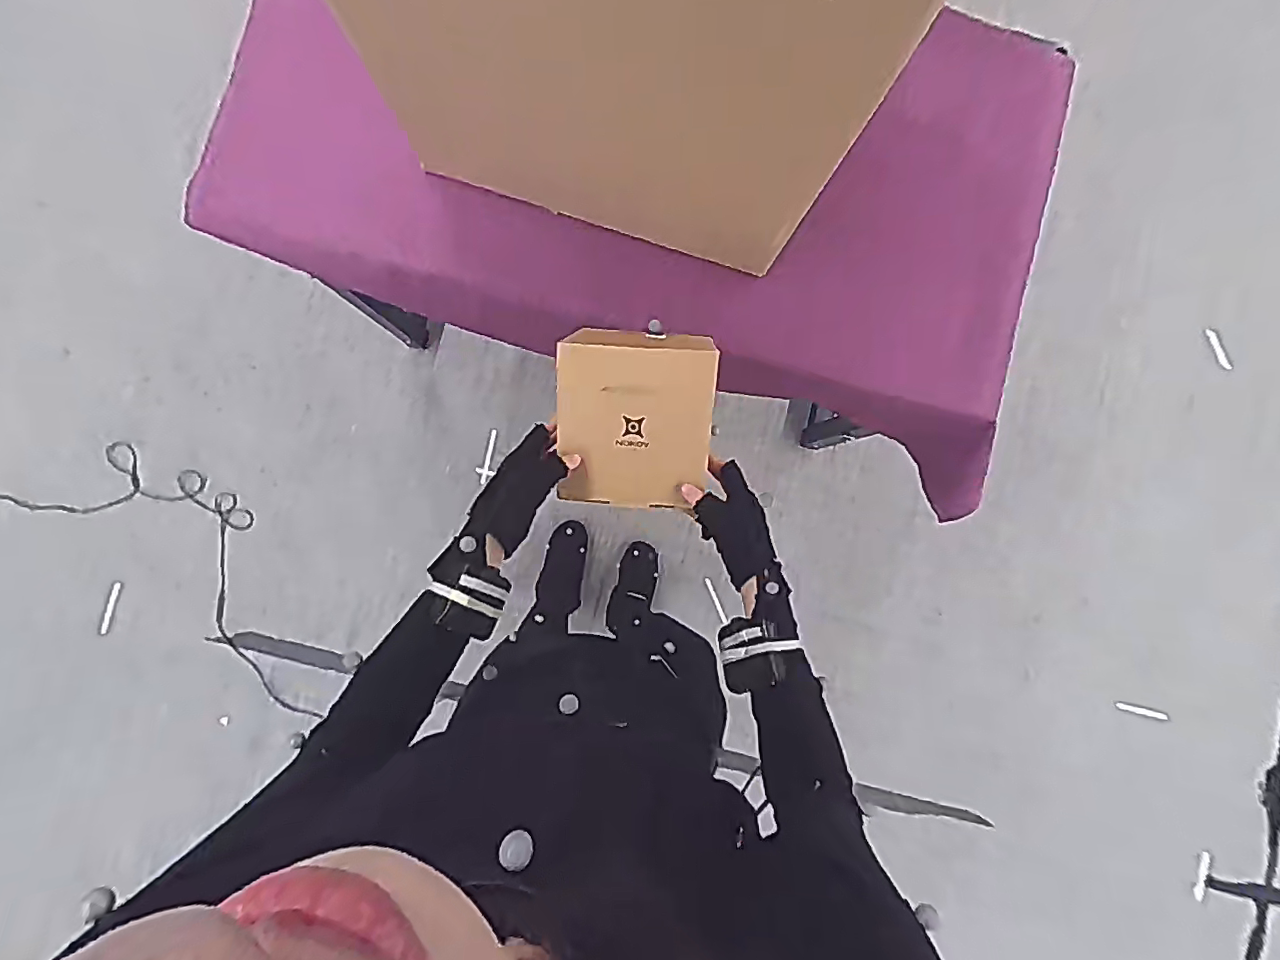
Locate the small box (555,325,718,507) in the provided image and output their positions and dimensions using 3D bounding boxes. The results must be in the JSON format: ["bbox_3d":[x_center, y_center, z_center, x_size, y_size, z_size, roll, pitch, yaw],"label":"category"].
[{"bbox_3d":[-0.003,-0.084,0.640,0.168,0.176,0.179,4,109,2],"label":"small box"}]
